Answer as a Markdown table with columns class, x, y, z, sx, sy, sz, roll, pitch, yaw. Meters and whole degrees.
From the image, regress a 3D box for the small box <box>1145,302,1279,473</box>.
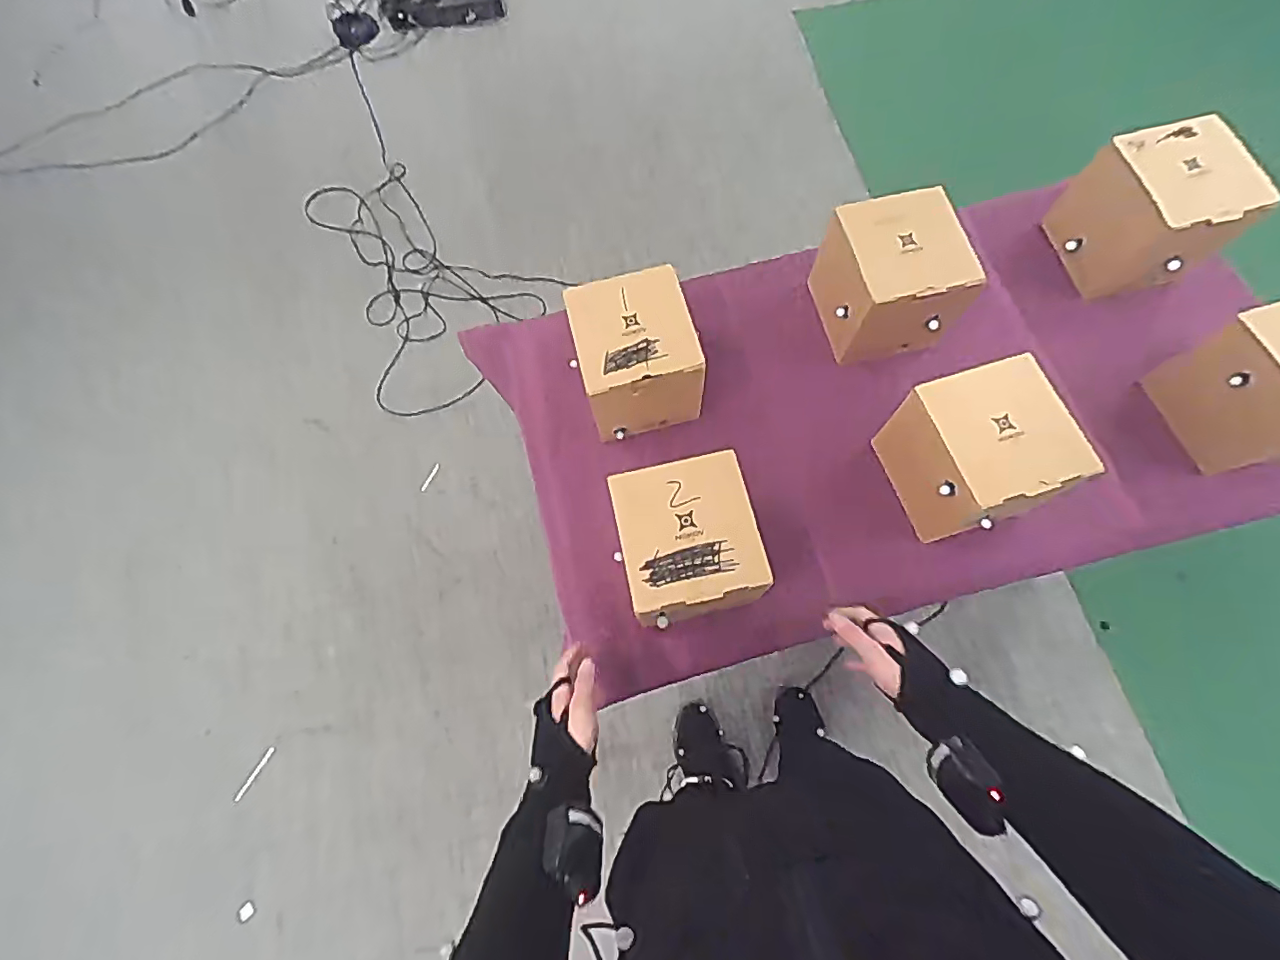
| class | x | y | z | sx | sy | sz | roll | pitch | yaw |
| --- | --- | --- | --- | --- | --- | --- | --- | --- | --- |
| small box | 0.878 | -0.132 | 0.751 | 0.168 | 0.176 | 0.179 | -15 | 71 | 0 |

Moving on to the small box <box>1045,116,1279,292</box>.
| class | x | y | z | sx | sy | sz | roll | pitch | yaw |
| --- | --- | --- | --- | --- | --- | --- | --- | --- | --- |
| small box | 0.801 | -0.421 | 0.854 | 0.168 | 0.176 | 0.179 | -13 | 74 | -1 |

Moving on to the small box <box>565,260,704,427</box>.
| class | x | y | z | sx | sy | sz | roll | pitch | yaw |
| --- | --- | --- | --- | --- | --- | --- | --- | --- | --- |
| small box | -0.006 | -0.194 | 0.822 | 0.168 | 0.176 | 0.179 | -13 | 71 | -2 |

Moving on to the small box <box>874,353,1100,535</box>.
| class | x | y | z | sx | sy | sz | roll | pitch | yaw |
| --- | --- | --- | --- | --- | --- | --- | --- | --- | --- |
| small box | 0.456 | -0.042 | 0.748 | 0.168 | 0.176 | 0.179 | -16 | 71 | -3 |

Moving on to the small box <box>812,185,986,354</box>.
| class | x | y | z | sx | sy | sz | roll | pitch | yaw |
| --- | --- | --- | --- | --- | --- | --- | --- | --- | --- |
| small box | 0.388 | -0.315 | 0.844 | 0.168 | 0.176 | 0.179 | -11 | 71 | -1 |
